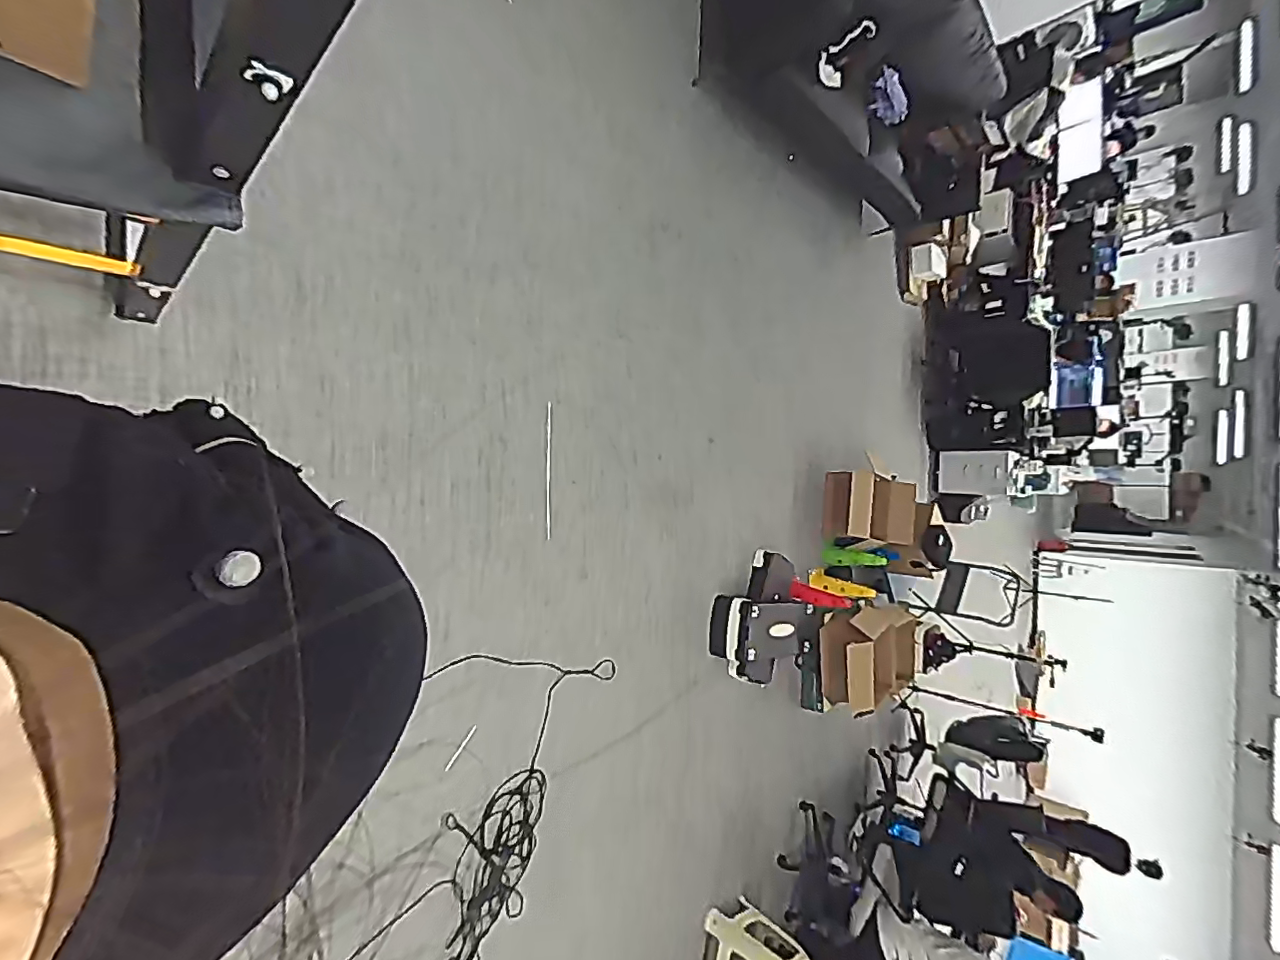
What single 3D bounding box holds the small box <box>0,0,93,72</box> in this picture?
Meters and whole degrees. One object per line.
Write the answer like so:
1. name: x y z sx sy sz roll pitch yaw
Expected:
1. small box: -0.559 -0.492 0.439 0.168 0.176 0.179 5 87 -48
